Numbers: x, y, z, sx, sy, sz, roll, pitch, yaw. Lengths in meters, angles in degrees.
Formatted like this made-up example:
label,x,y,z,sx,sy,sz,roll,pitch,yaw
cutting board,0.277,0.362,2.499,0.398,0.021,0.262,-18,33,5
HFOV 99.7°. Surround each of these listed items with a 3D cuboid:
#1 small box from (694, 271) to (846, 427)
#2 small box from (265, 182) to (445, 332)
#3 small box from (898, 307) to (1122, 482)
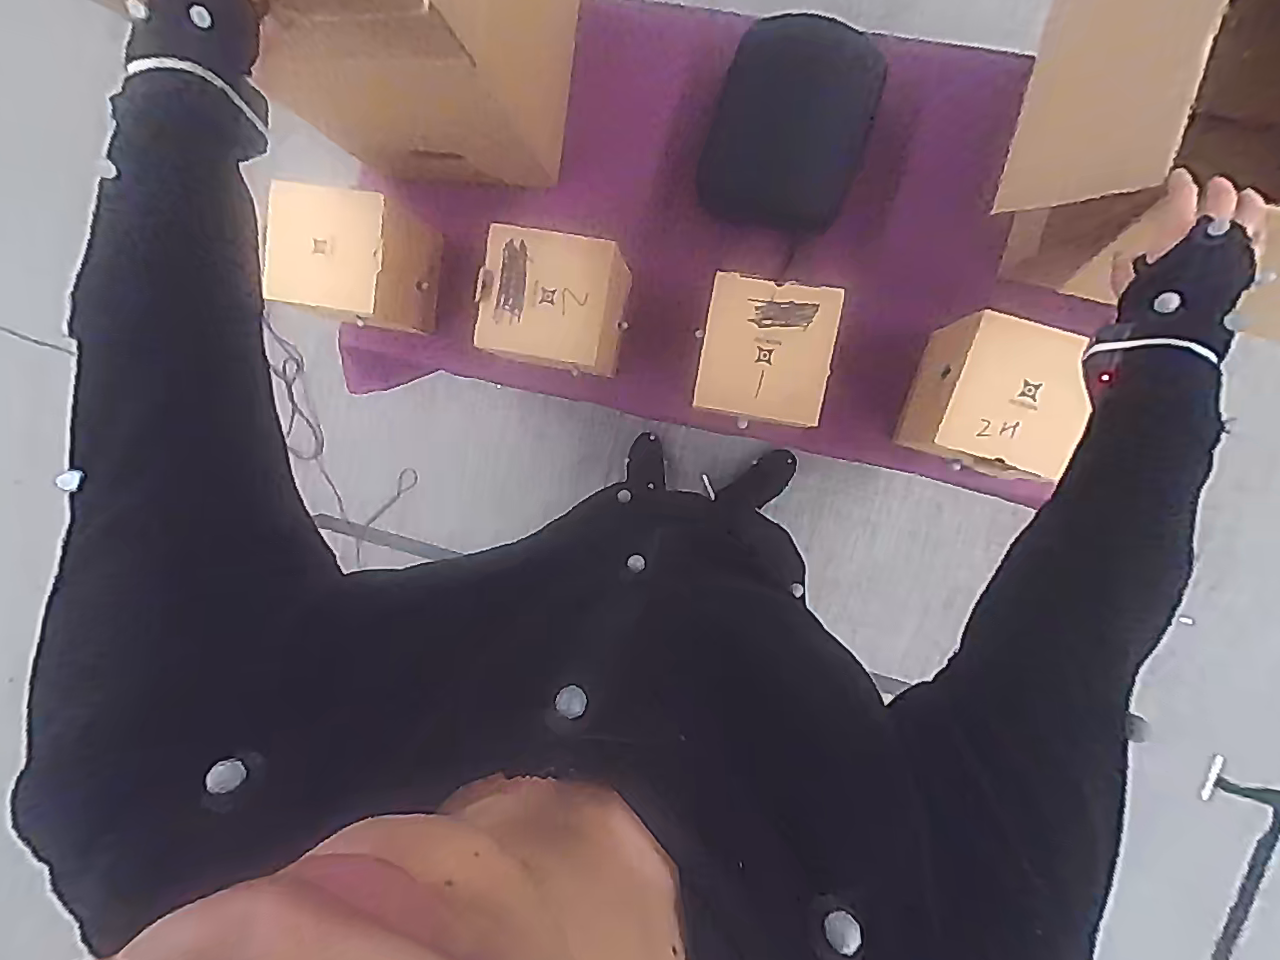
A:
label,x,y,z,sx,sy,sz,roll,pitch,yaw
small box,0.174,-0.176,0.771,0.168,0.176,0.179,11,98,7
small box,-0.431,-0.333,0.836,0.179,0.176,0.168,9,97,5
small box,0.480,-0.110,0.736,0.168,0.176,0.179,19,97,7
